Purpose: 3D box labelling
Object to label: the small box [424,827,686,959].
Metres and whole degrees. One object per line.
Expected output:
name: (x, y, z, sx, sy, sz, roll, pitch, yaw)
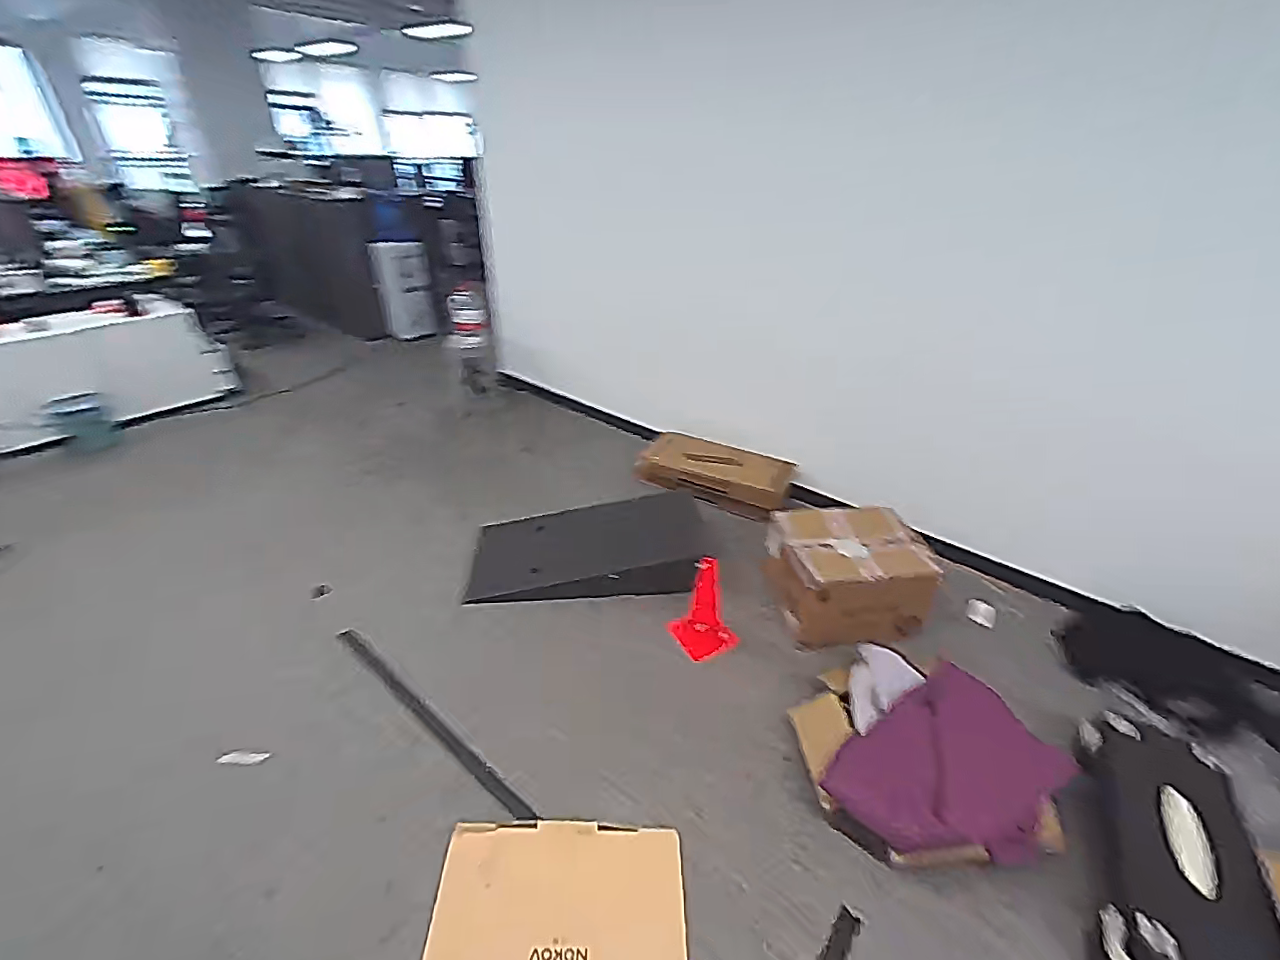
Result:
small box: (-0.061, 0.369, 0.374, 0.168, 0.176, 0.179, 4, 39, -6)
